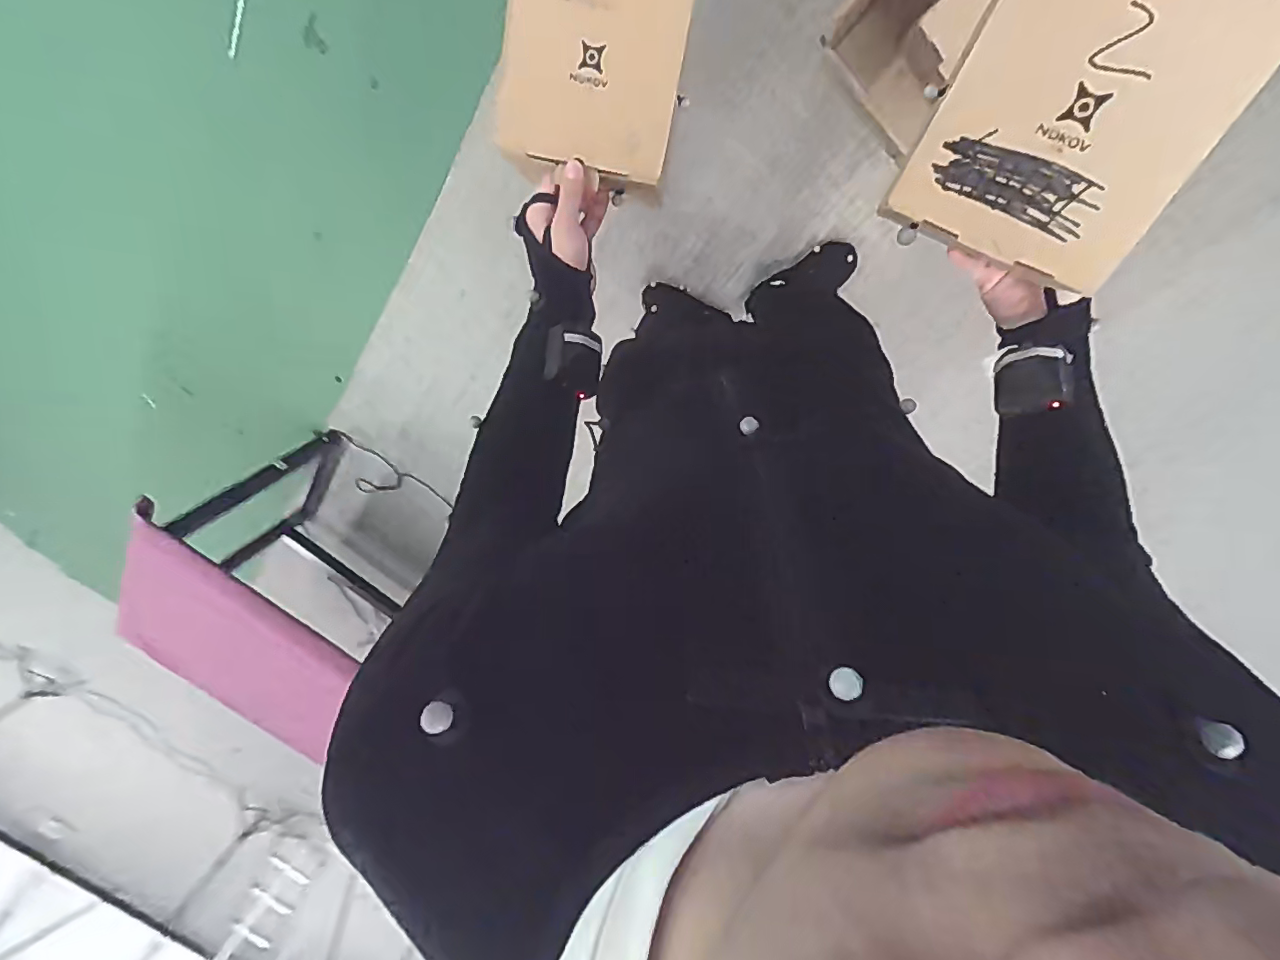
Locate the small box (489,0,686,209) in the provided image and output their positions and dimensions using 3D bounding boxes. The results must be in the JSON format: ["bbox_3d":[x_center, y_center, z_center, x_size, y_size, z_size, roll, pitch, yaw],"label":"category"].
[{"bbox_3d":[-0.048,-0.405,0.574,0.168,0.176,0.179,11,107,-1],"label":"small box"}]
